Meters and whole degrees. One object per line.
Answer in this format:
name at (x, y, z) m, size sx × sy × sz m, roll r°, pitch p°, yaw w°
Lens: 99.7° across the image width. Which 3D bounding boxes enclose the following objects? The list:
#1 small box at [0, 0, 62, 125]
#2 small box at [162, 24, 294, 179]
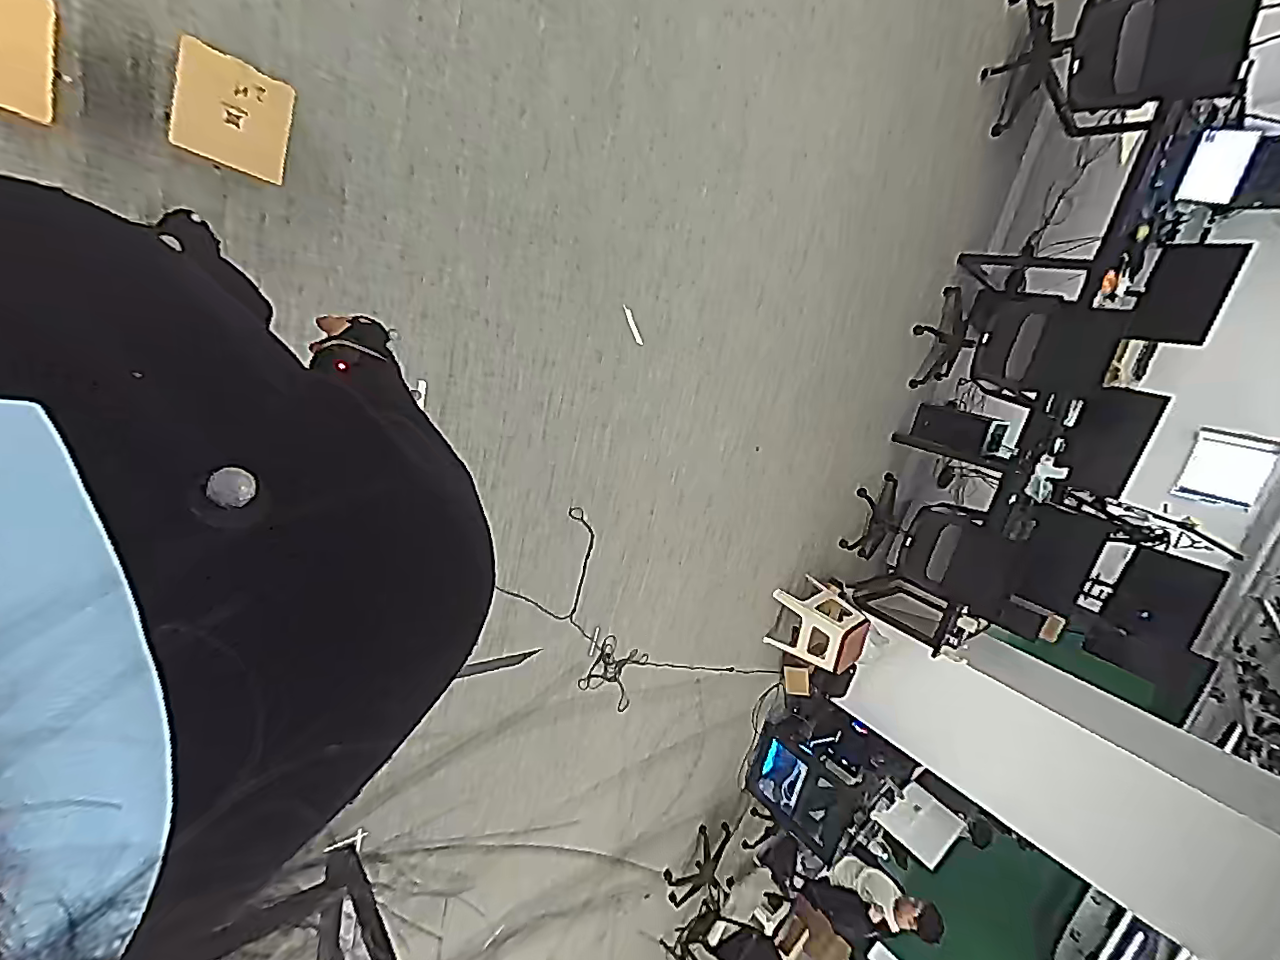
small box at (-0.991, -0.667, 0.806) m, size 0.168 × 0.176 × 0.179 m, roll 3°, pitch 108°, yaw -44°
small box at (-0.769, -0.683, 1.004) m, size 0.168 × 0.176 × 0.179 m, roll 7°, pitch 105°, yaw -46°
